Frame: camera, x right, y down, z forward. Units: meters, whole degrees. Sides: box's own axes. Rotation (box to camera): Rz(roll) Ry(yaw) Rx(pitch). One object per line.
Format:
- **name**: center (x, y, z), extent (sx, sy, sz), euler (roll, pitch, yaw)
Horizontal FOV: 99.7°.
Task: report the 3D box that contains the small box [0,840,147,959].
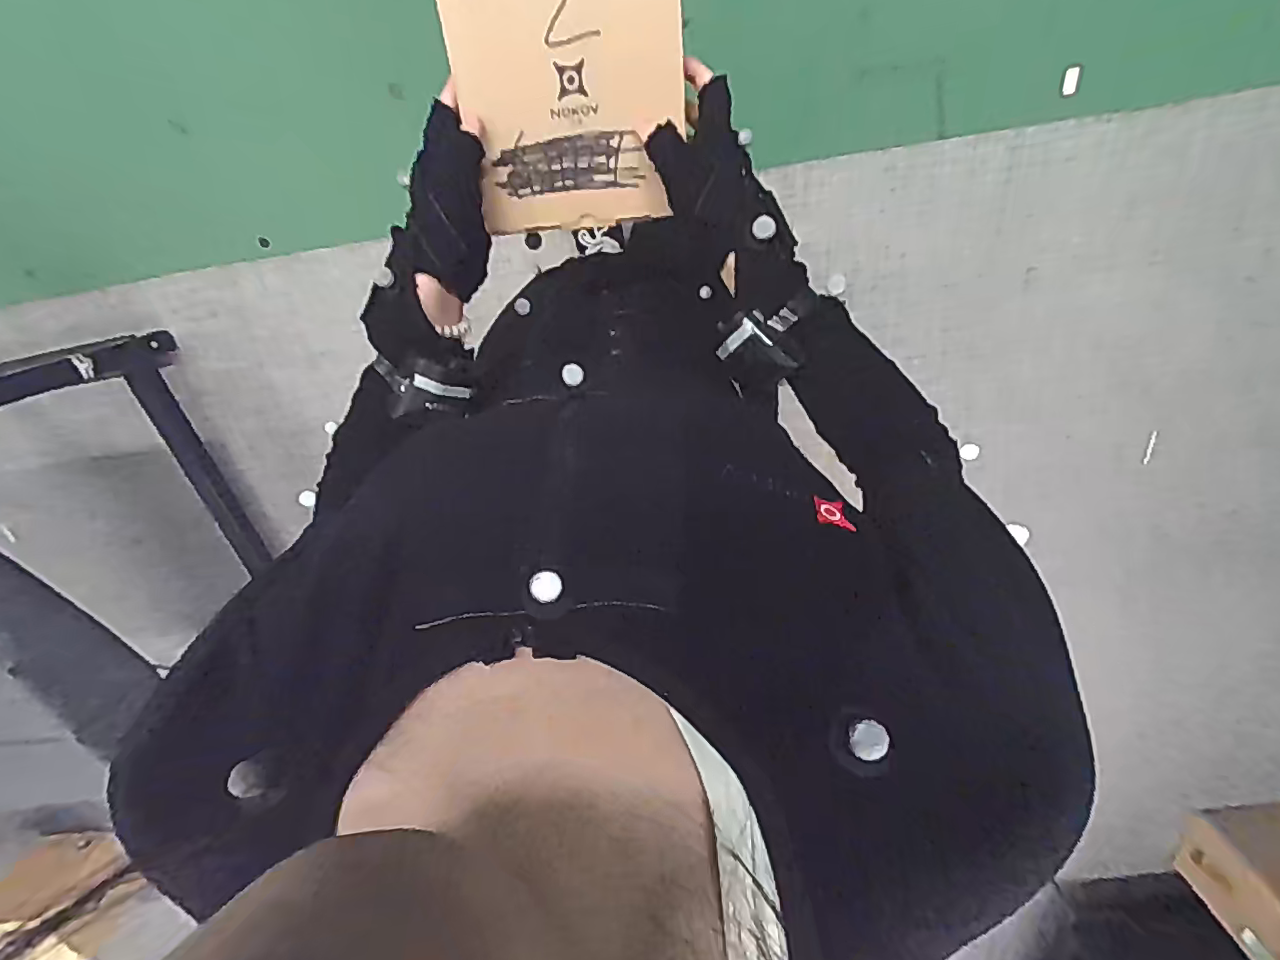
- **small box**: center (-1.206, 0.879, 1.126), extent (0.168, 0.176, 0.179), euler (-6, 118, 2)
